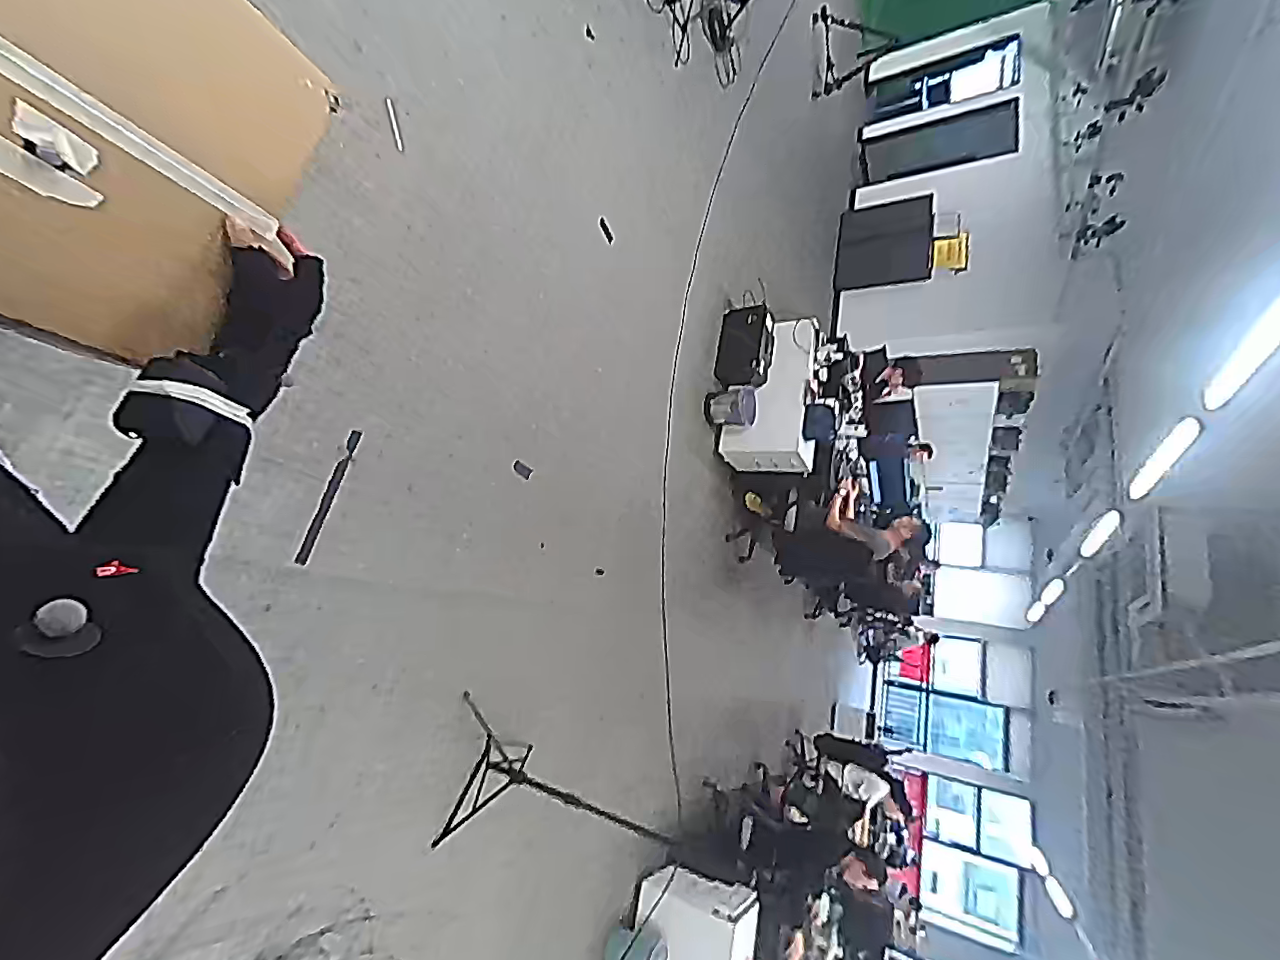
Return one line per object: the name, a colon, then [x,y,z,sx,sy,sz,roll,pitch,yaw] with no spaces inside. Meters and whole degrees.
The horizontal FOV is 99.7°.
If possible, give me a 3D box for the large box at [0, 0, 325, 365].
large box: [-0.565,-0.325,0.412,0.408,0.320,0.320,31,76,-59]
